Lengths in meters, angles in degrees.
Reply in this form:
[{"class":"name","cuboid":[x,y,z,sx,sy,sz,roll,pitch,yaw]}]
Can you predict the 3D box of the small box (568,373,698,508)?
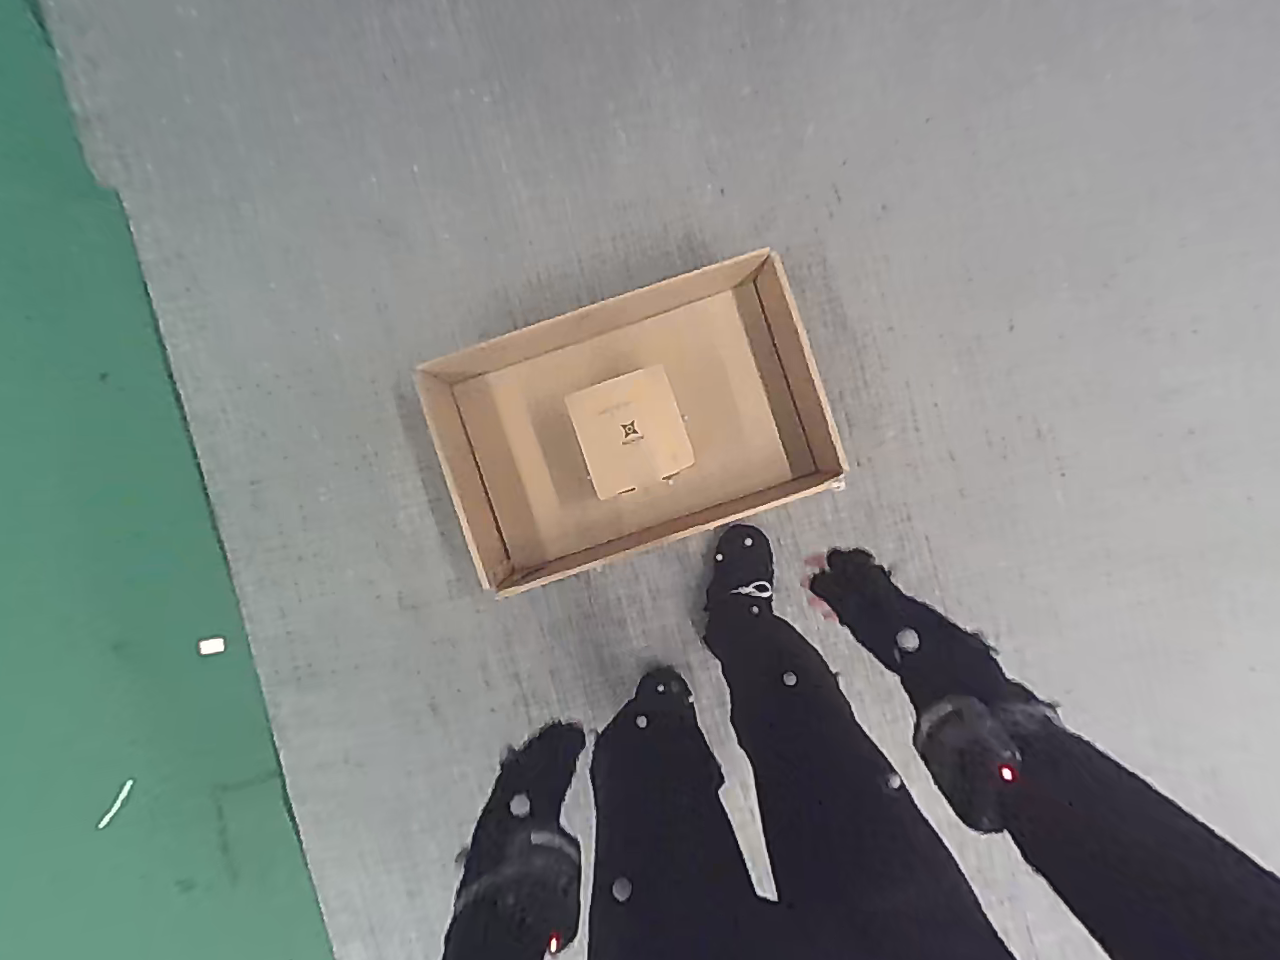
[{"class":"small box","cuboid":[-0.008,-0.062,0.926,0.168,0.176,0.179,-19,89,1]}]
